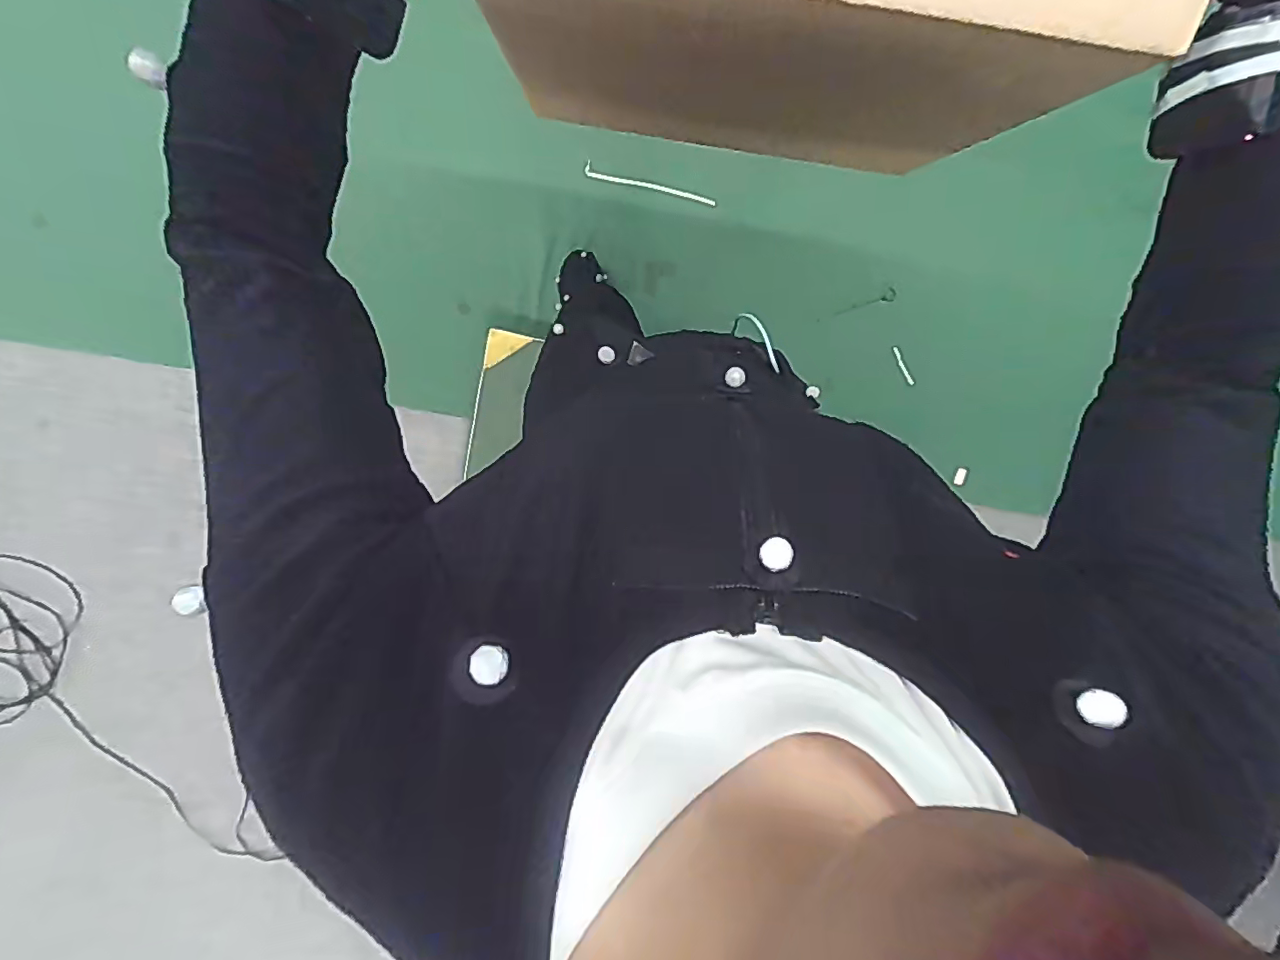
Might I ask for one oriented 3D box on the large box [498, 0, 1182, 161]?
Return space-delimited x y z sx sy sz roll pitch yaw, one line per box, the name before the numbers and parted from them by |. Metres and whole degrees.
large box | 0.112 -0.458 0.386 0.408 0.320 0.320 5 109 -5
